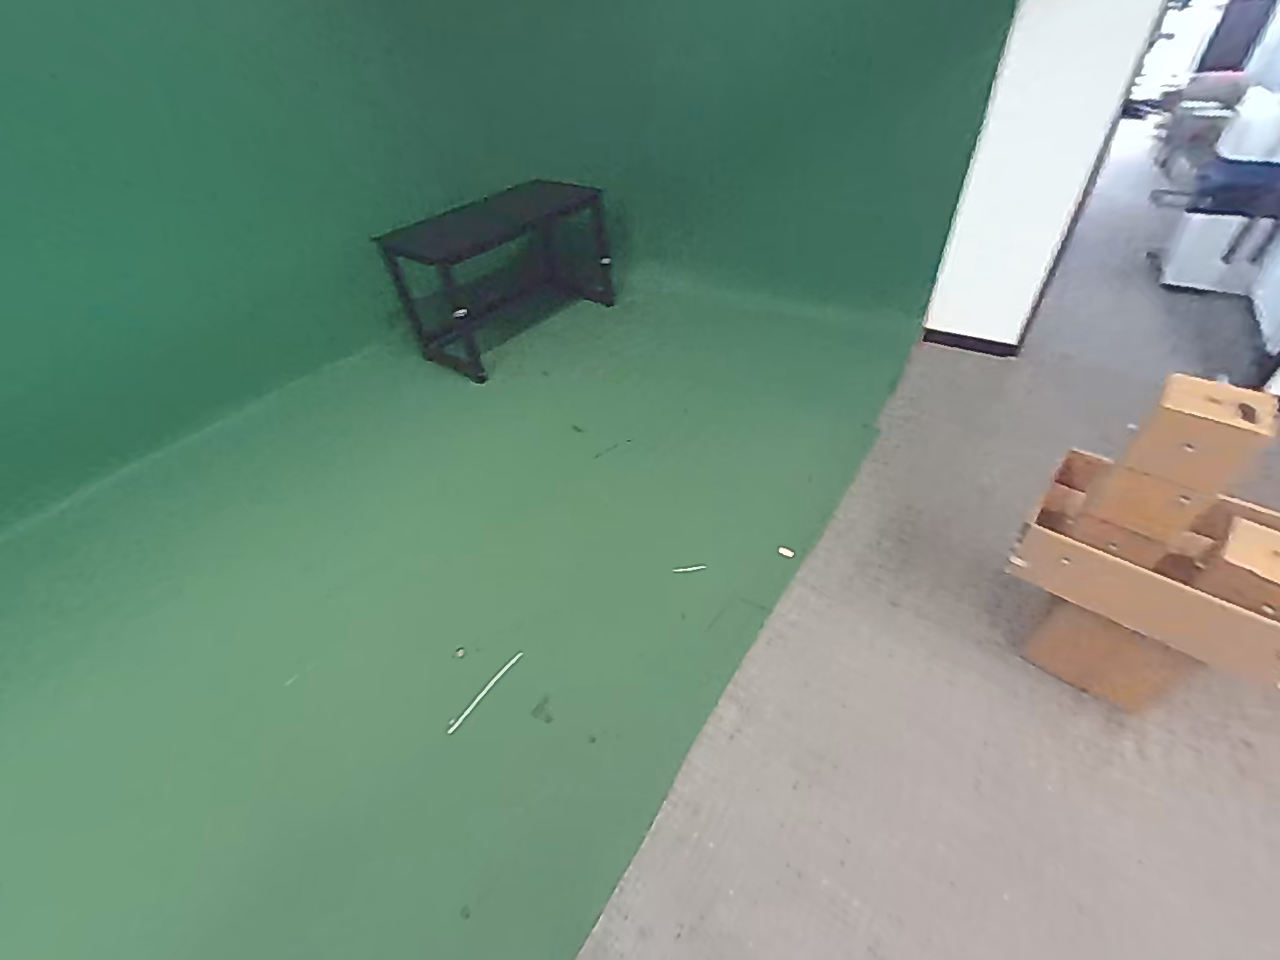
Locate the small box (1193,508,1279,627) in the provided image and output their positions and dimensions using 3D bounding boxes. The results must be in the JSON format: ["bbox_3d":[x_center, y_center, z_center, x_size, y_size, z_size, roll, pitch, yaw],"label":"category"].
[{"bbox_3d":[1.451,0.206,1.257,0.179,0.176,0.168,-37,51,-26],"label":"small box"}]

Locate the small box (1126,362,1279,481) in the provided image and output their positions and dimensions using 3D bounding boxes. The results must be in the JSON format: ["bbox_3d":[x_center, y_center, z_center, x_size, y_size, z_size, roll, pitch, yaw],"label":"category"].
[{"bbox_3d":[1.208,-0.121,1.163,0.179,0.176,0.168,28,54,32],"label":"small box"}]

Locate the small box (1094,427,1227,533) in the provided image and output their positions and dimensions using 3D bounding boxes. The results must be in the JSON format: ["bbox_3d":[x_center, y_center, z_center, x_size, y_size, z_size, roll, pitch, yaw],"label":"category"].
[{"bbox_3d":[1.228,-0.005,1.277,0.179,0.176,0.168,30,55,32],"label":"small box"}]
